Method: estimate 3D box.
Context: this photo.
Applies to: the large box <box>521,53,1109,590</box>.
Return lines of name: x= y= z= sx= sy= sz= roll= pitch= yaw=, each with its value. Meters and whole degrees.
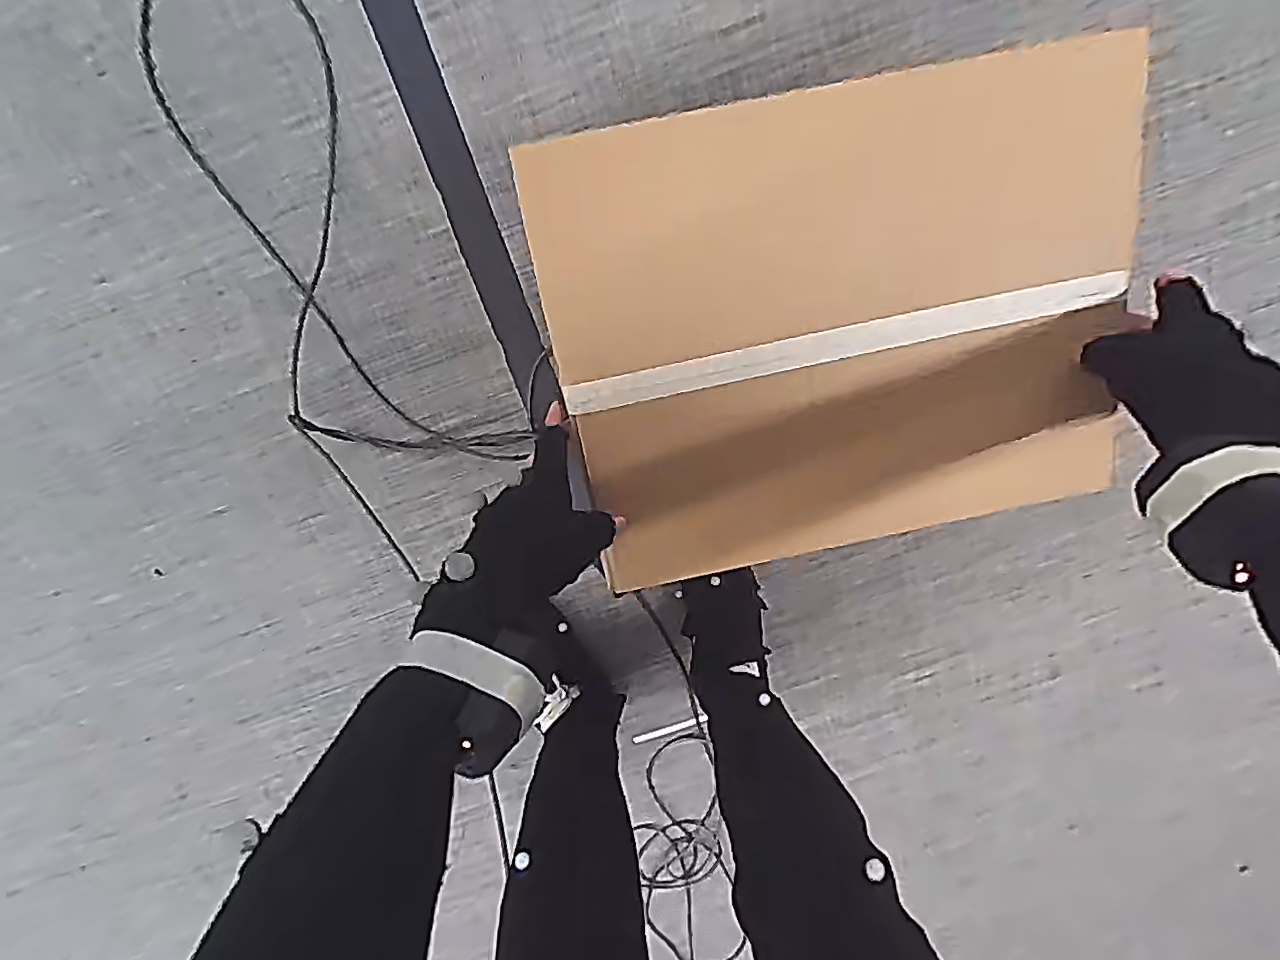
large box: x=0.131 y=-0.137 z=0.537 sx=0.408 sy=0.320 sz=0.320 roll=-12 pitch=108 yaw=-1
